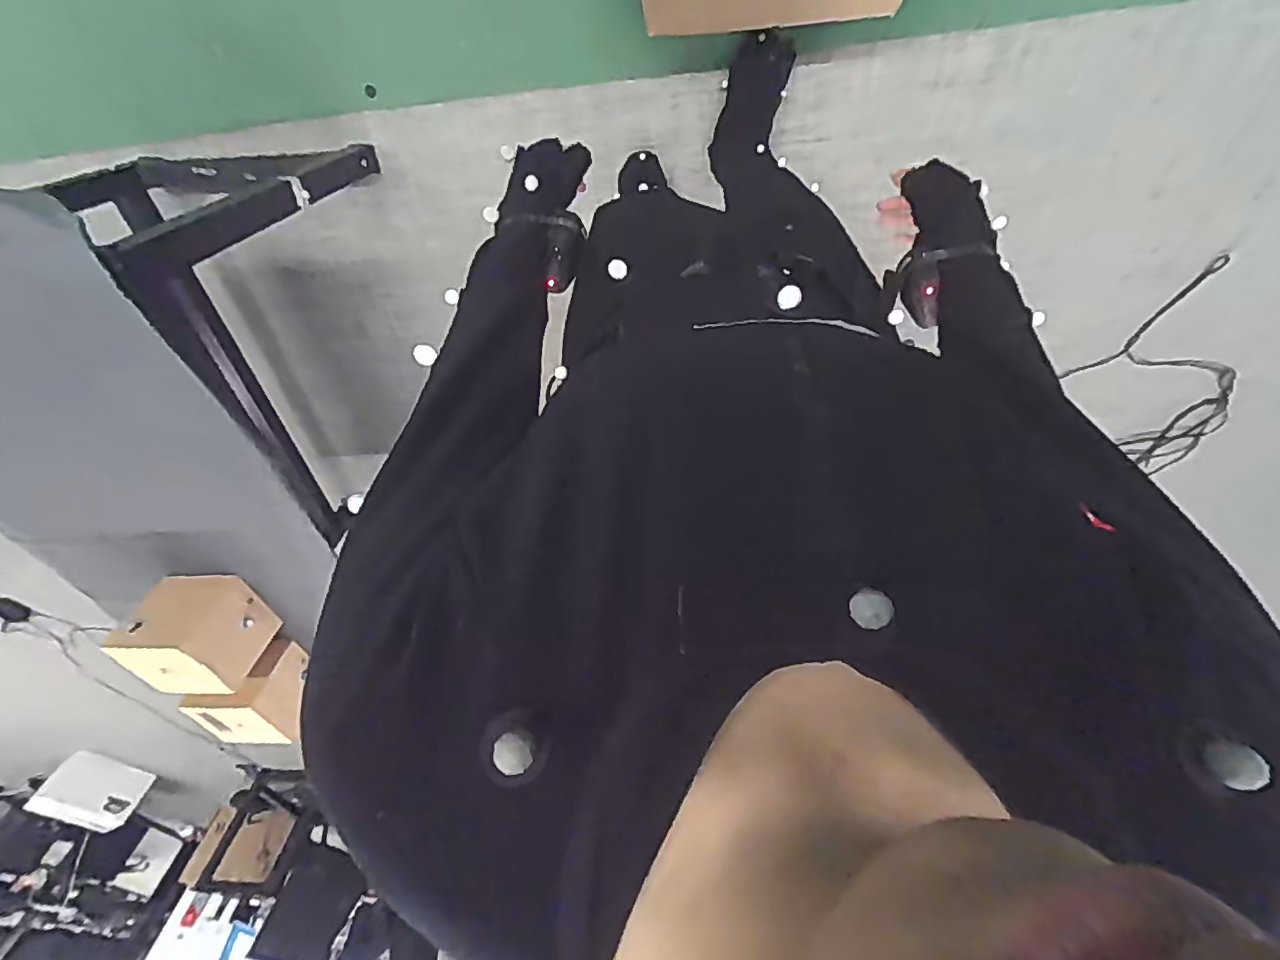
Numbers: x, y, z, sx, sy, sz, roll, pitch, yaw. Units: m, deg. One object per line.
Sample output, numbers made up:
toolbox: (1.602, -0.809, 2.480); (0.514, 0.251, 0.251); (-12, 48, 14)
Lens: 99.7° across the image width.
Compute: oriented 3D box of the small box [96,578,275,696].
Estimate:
small box: (-0.886, 0.308, 1.076); (0.179, 0.176, 0.168); (-2, 131, 8)
